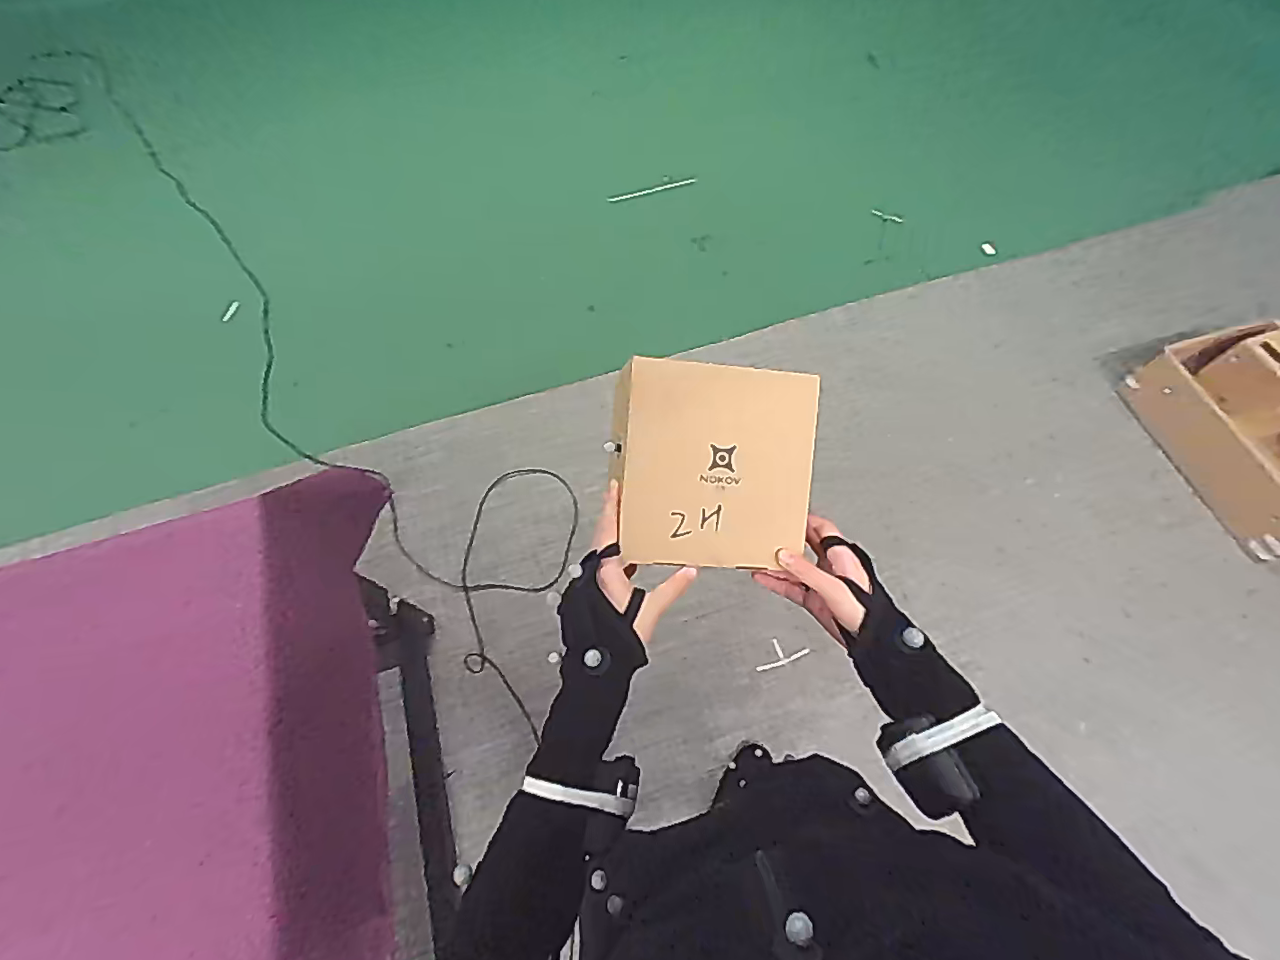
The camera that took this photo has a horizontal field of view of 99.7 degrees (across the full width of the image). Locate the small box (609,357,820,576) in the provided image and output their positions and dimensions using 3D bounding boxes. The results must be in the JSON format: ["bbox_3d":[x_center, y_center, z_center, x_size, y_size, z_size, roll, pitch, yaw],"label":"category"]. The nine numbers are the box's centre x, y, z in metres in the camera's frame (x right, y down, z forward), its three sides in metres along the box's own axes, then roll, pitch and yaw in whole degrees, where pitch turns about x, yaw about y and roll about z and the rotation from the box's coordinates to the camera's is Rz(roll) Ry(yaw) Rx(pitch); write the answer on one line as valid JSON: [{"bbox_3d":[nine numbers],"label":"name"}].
[{"bbox_3d":[0.059,-0.013,0.537,0.168,0.176,0.179,5,93,-6],"label":"small box"}]
